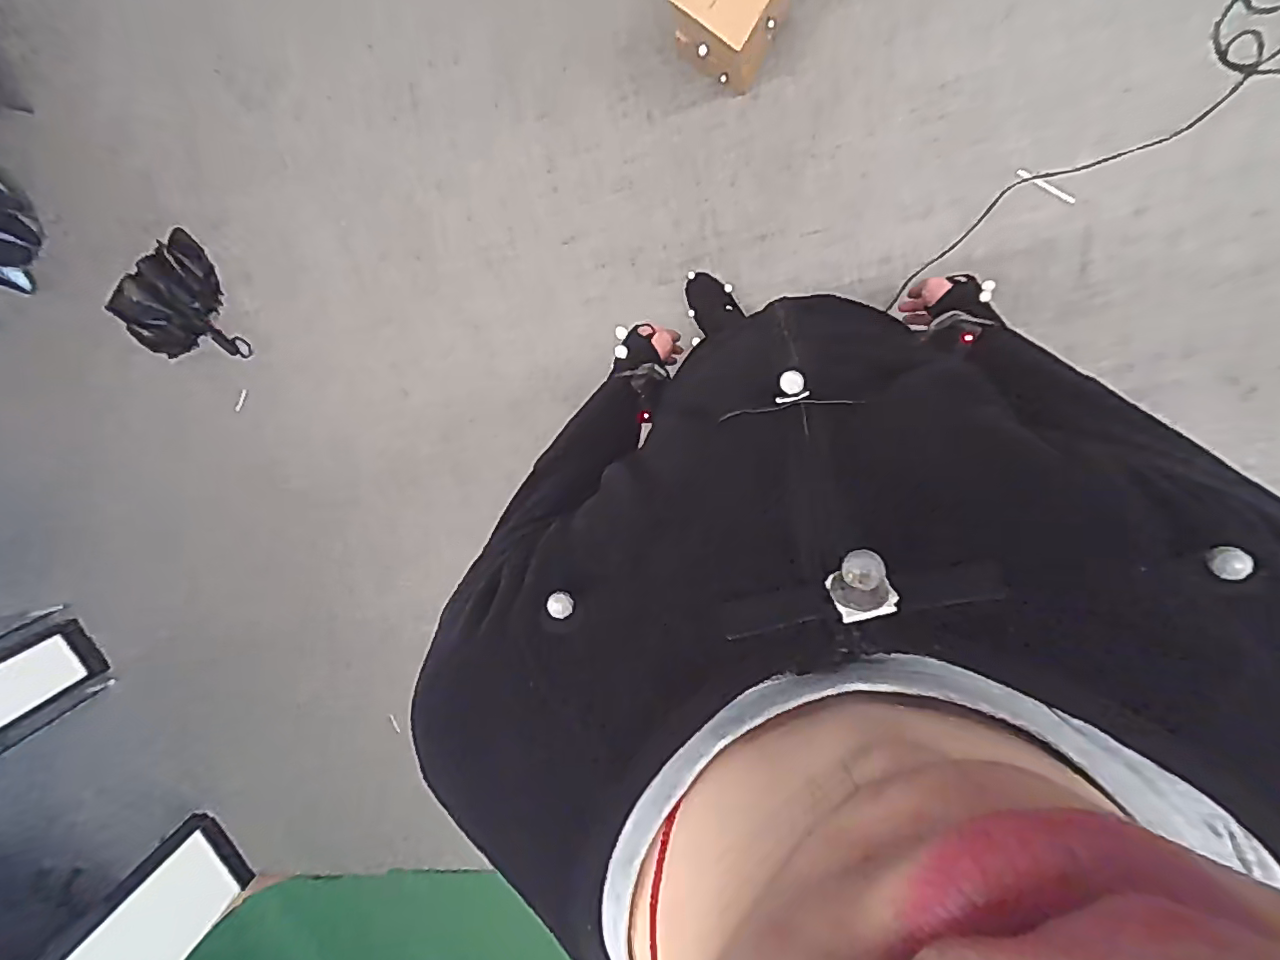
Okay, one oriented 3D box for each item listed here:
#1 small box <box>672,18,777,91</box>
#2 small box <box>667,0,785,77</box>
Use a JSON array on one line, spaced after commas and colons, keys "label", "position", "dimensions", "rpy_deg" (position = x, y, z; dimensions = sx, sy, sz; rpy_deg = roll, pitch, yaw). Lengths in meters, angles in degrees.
[{"label": "small box", "position": [0.188, -0.980, 1.159], "dimensions": [0.168, 0.176, 0.179], "rpy_deg": [28, 113, 0]}, {"label": "small box", "position": [0.170, -0.911, 1.011], "dimensions": [0.168, 0.176, 0.179], "rpy_deg": [35, 115, -3]}]
